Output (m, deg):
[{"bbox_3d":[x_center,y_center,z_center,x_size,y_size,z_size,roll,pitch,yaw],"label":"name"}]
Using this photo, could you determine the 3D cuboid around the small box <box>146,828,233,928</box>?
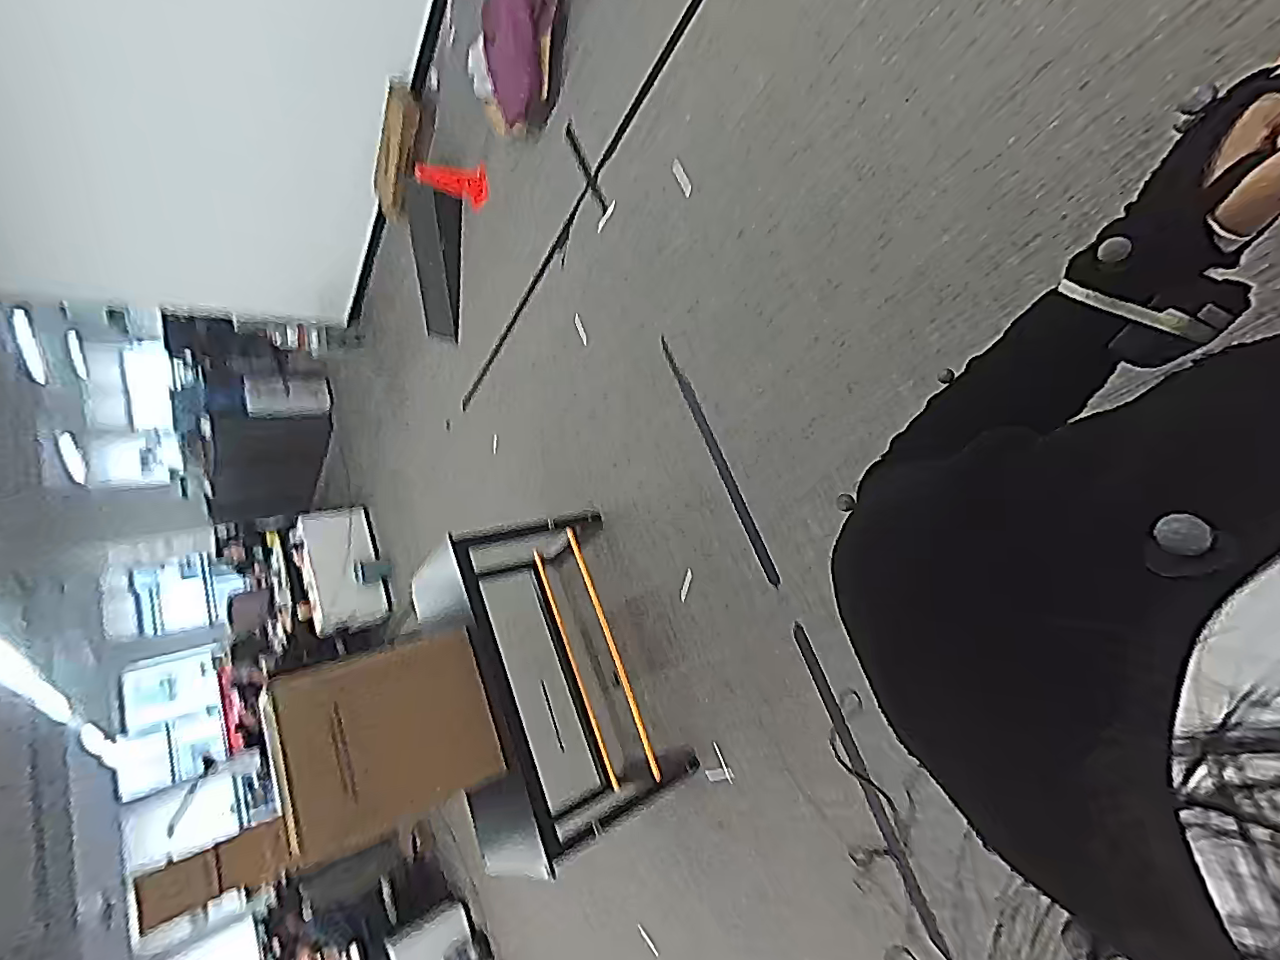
[{"bbox_3d":[-1.248,1.100,1.506,0.179,0.176,0.168,-43,64,44],"label":"small box"}]

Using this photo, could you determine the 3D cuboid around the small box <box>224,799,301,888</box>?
[{"bbox_3d":[-1.132,1.088,1.623,0.179,0.176,0.168,-45,63,43],"label":"small box"}]
